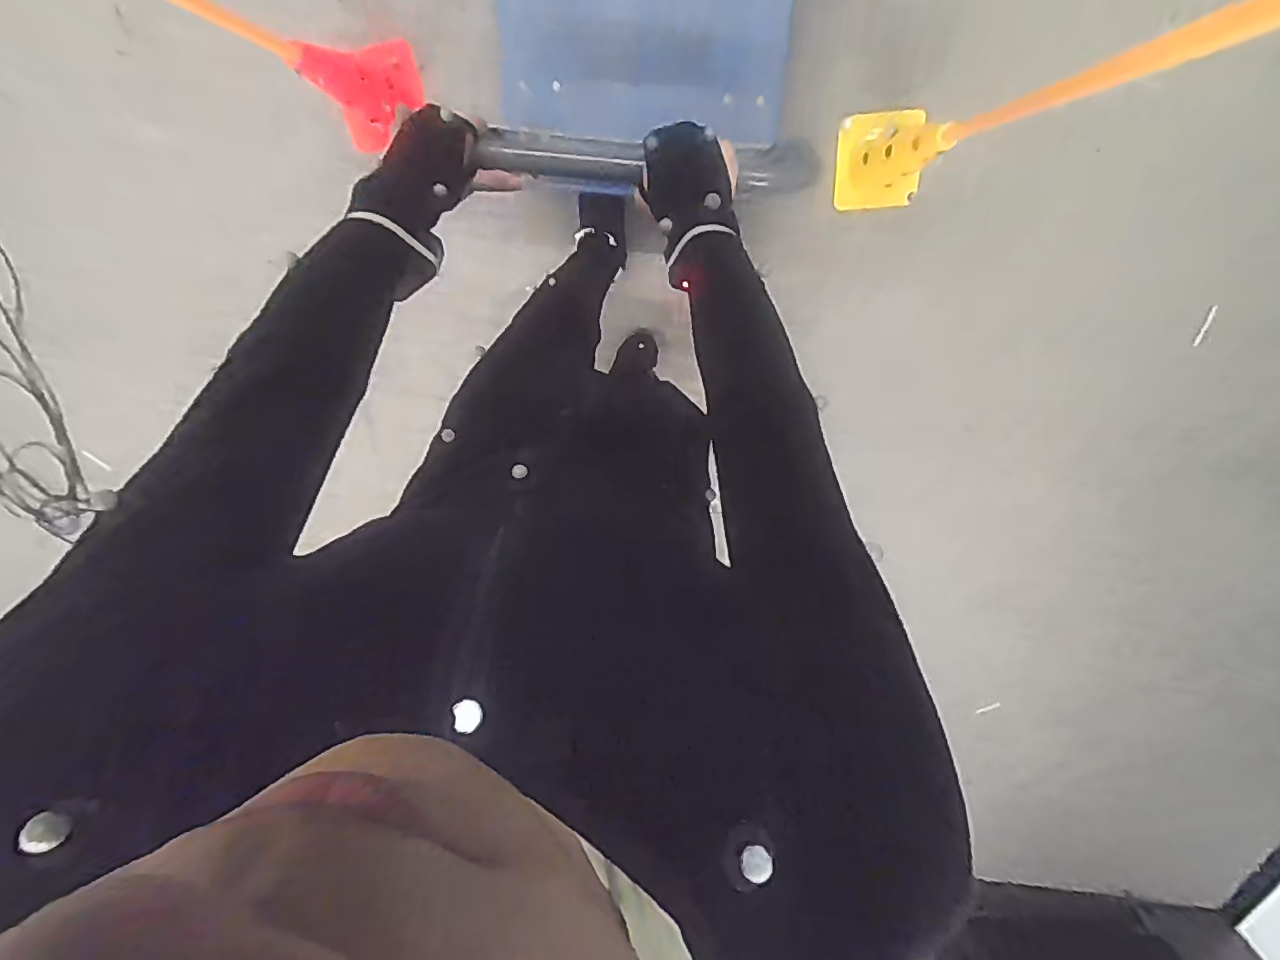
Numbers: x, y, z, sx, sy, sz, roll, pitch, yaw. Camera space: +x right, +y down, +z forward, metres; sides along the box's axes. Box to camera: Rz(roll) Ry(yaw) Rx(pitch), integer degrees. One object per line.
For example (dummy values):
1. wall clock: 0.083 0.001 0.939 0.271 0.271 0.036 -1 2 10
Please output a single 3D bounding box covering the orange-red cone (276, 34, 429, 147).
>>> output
1. orange-red cone: -0.613 -0.831 1.108 0.199 0.360 0.198 -6 114 6
